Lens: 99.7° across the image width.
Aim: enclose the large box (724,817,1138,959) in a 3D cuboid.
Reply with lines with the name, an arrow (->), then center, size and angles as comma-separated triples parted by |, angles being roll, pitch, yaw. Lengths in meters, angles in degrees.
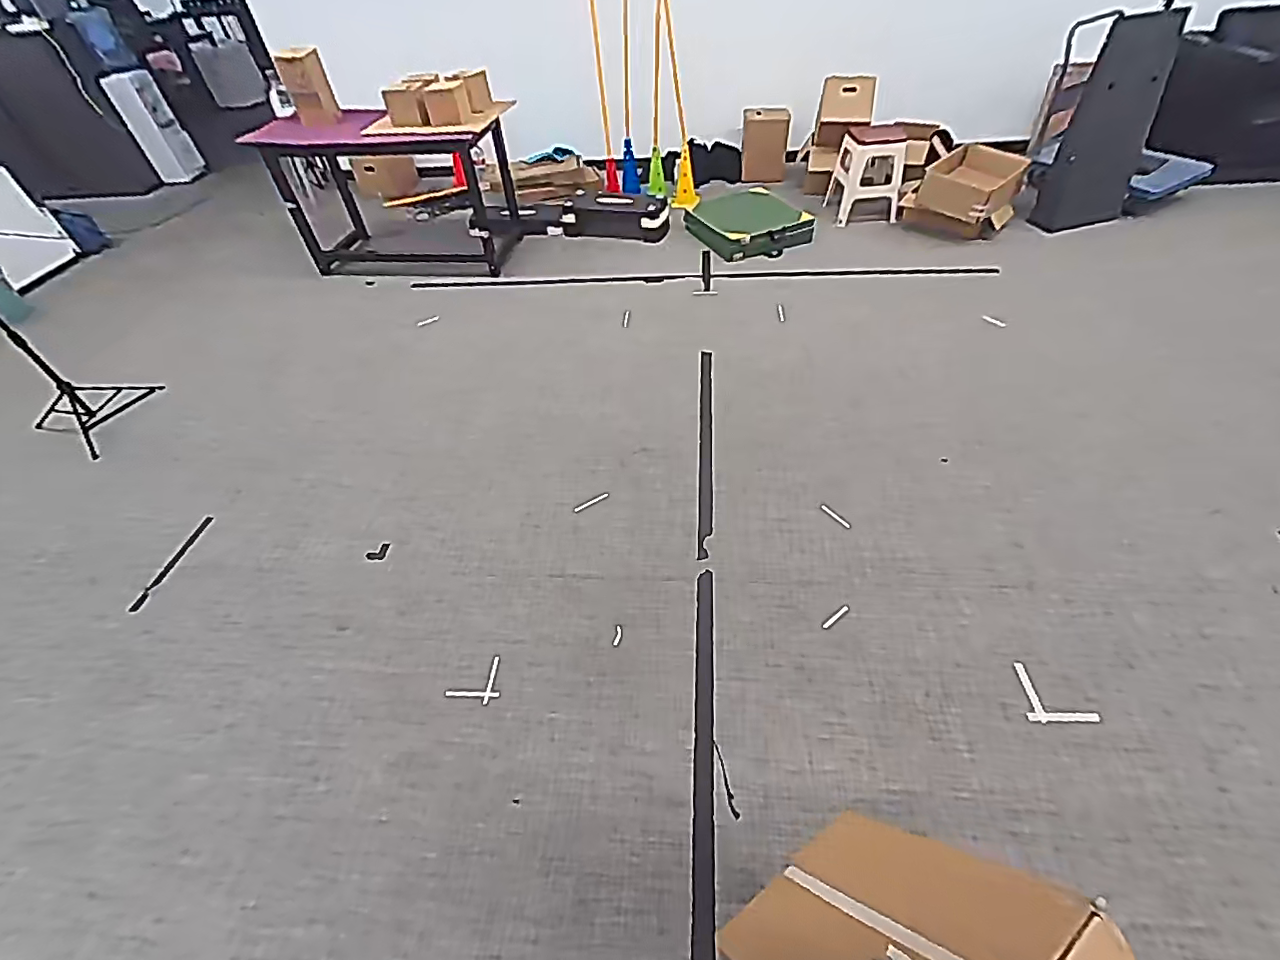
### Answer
large box -> 0.380, 0.708, 0.675 | 0.320, 0.408, 0.320 | -23, 82, -25
